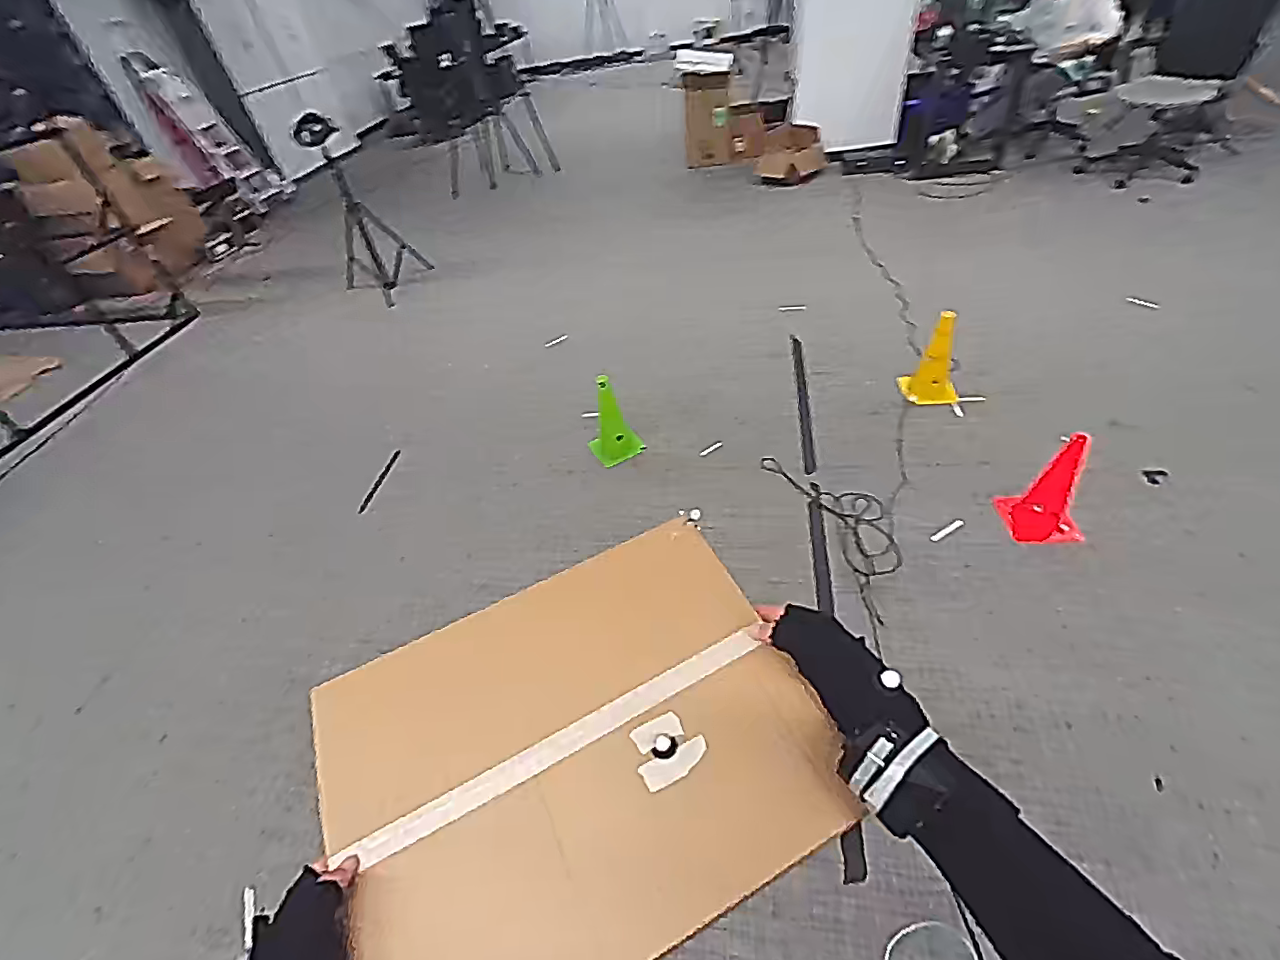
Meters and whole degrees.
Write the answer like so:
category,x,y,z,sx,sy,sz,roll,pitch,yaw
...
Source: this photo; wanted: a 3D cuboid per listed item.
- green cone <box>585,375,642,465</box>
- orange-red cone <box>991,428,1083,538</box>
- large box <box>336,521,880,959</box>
category,x,y,z,sx,sy,sz,roll,pitch,yaw
green cone,-0.143,-0.274,2.218,0.202,0.368,0.200,-28,46,-15
orange-red cone,1.267,-0.011,1.665,0.198,0.360,0.199,-2,43,8
large box,-0.038,0.318,0.585,0.408,0.320,0.320,-23,53,-13
